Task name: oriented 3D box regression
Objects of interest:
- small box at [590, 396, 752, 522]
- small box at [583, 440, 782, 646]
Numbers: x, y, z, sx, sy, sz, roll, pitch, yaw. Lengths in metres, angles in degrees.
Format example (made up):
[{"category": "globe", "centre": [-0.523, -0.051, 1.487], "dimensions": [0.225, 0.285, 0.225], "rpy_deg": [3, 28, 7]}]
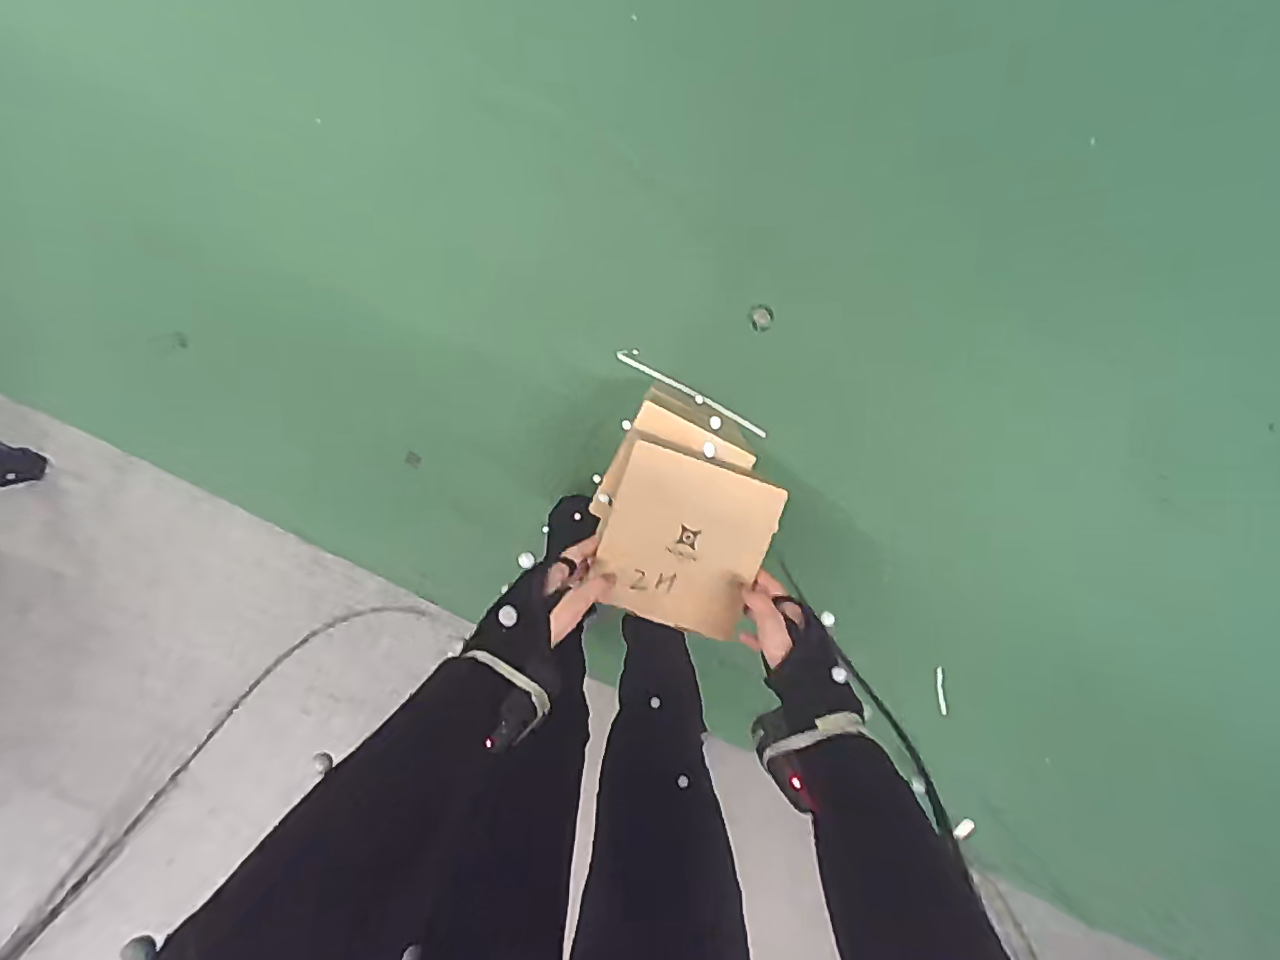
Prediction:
[{"category": "small box", "centre": [0.043, -0.010, 0.805], "dimensions": [0.168, 0.176, 0.179], "rpy_deg": [26, 105, -4]}, {"category": "small box", "centre": [0.040, 0.059, 0.633], "dimensions": [0.168, 0.176, 0.179], "rpy_deg": [18, 97, -4]}]
